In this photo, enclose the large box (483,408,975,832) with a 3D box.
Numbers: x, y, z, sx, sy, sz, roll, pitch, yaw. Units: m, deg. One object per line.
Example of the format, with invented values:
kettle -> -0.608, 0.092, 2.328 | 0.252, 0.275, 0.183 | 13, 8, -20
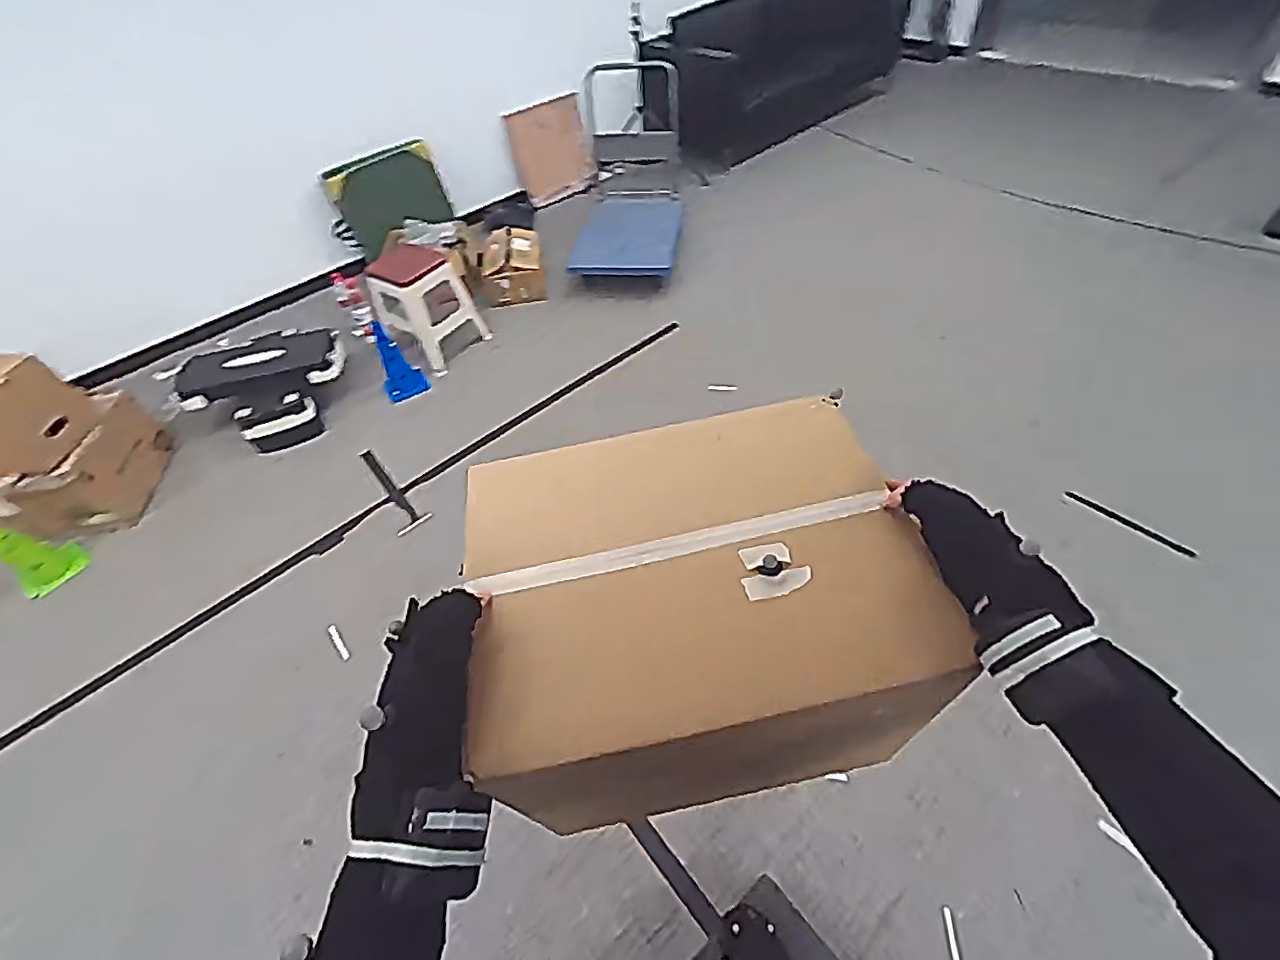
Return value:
large box -> 0.061, 0.166, 0.625 | 0.408, 0.320, 0.320 | -12, 50, -2
